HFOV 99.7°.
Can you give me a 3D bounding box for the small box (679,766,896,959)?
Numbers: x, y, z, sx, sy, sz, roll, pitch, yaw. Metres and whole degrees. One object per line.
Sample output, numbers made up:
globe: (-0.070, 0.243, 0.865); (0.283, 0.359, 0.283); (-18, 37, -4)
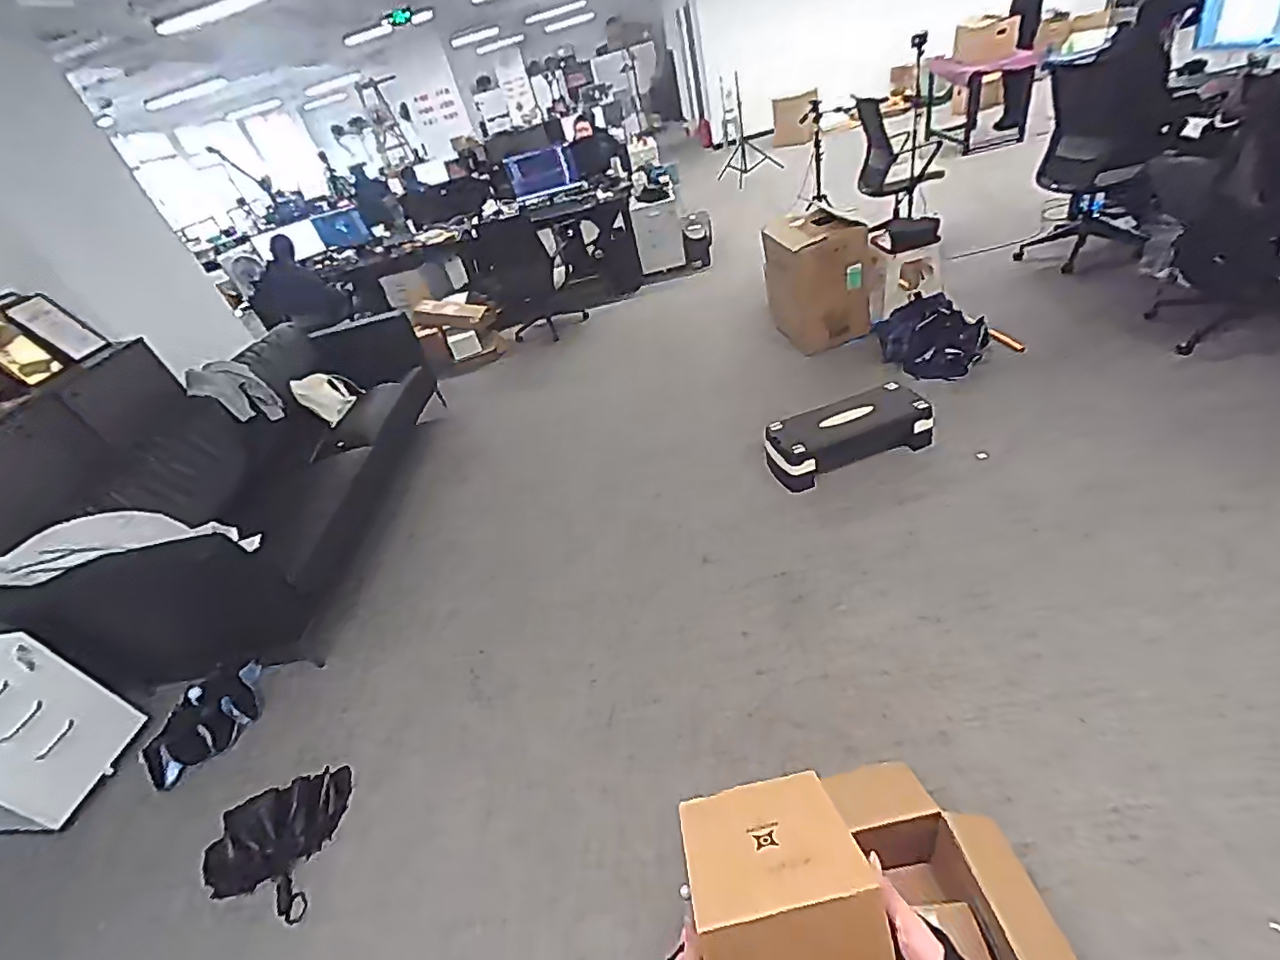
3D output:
small box: (0.143, 0.437, 0.553); (0.168, 0.176, 0.179); (-13, 4, -1)
